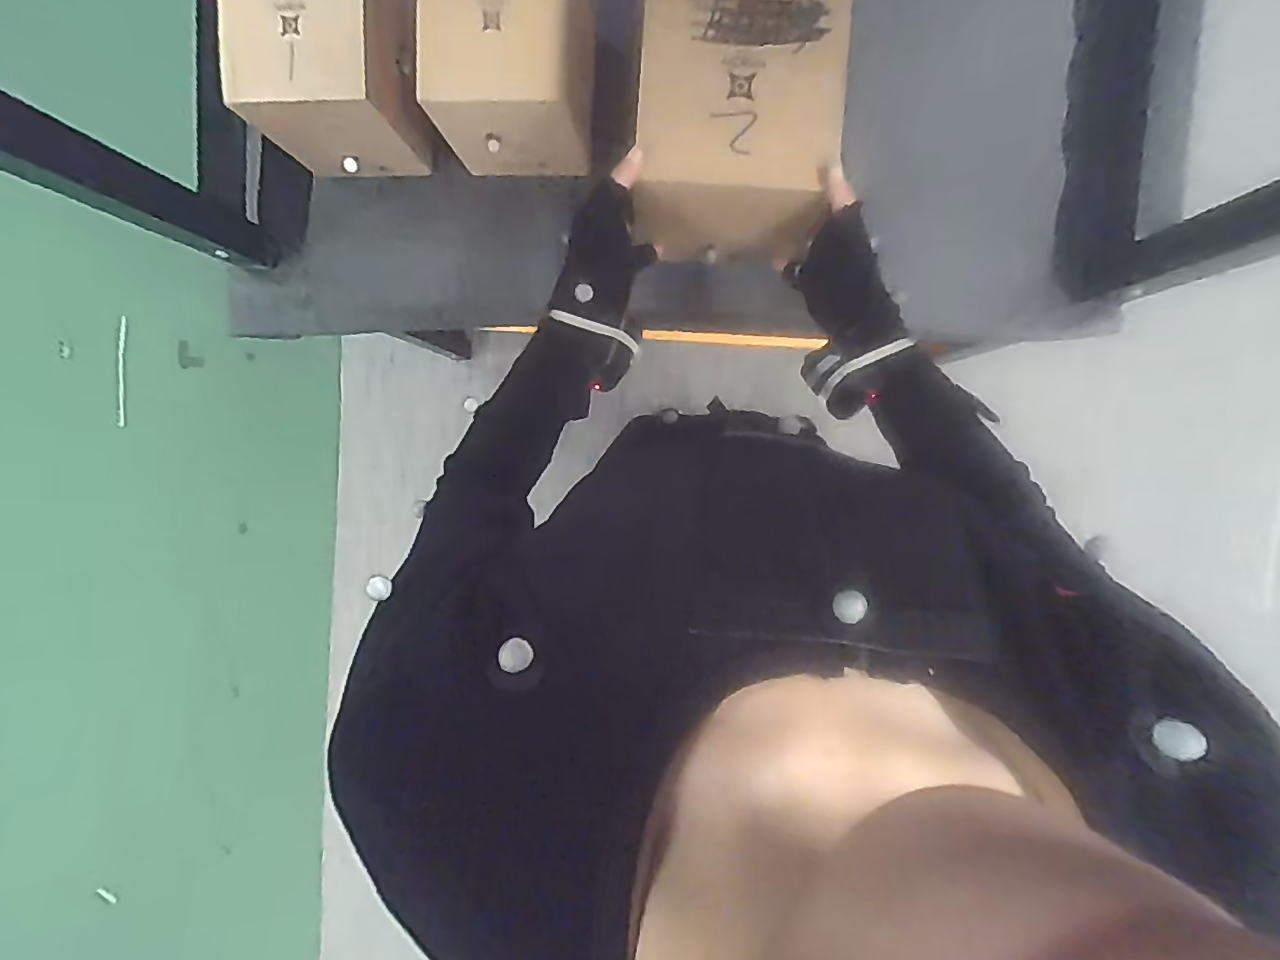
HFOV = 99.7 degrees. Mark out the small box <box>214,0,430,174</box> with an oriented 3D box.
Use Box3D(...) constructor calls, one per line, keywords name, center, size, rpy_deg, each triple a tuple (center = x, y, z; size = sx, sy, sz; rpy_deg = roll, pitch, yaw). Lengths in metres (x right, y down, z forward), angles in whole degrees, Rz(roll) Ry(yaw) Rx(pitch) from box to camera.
Box3D(name="small box", center=(-0.371, -0.506, 0.659), size=(0.168, 0.176, 0.179), rpy_deg=(2, 94, 4))
